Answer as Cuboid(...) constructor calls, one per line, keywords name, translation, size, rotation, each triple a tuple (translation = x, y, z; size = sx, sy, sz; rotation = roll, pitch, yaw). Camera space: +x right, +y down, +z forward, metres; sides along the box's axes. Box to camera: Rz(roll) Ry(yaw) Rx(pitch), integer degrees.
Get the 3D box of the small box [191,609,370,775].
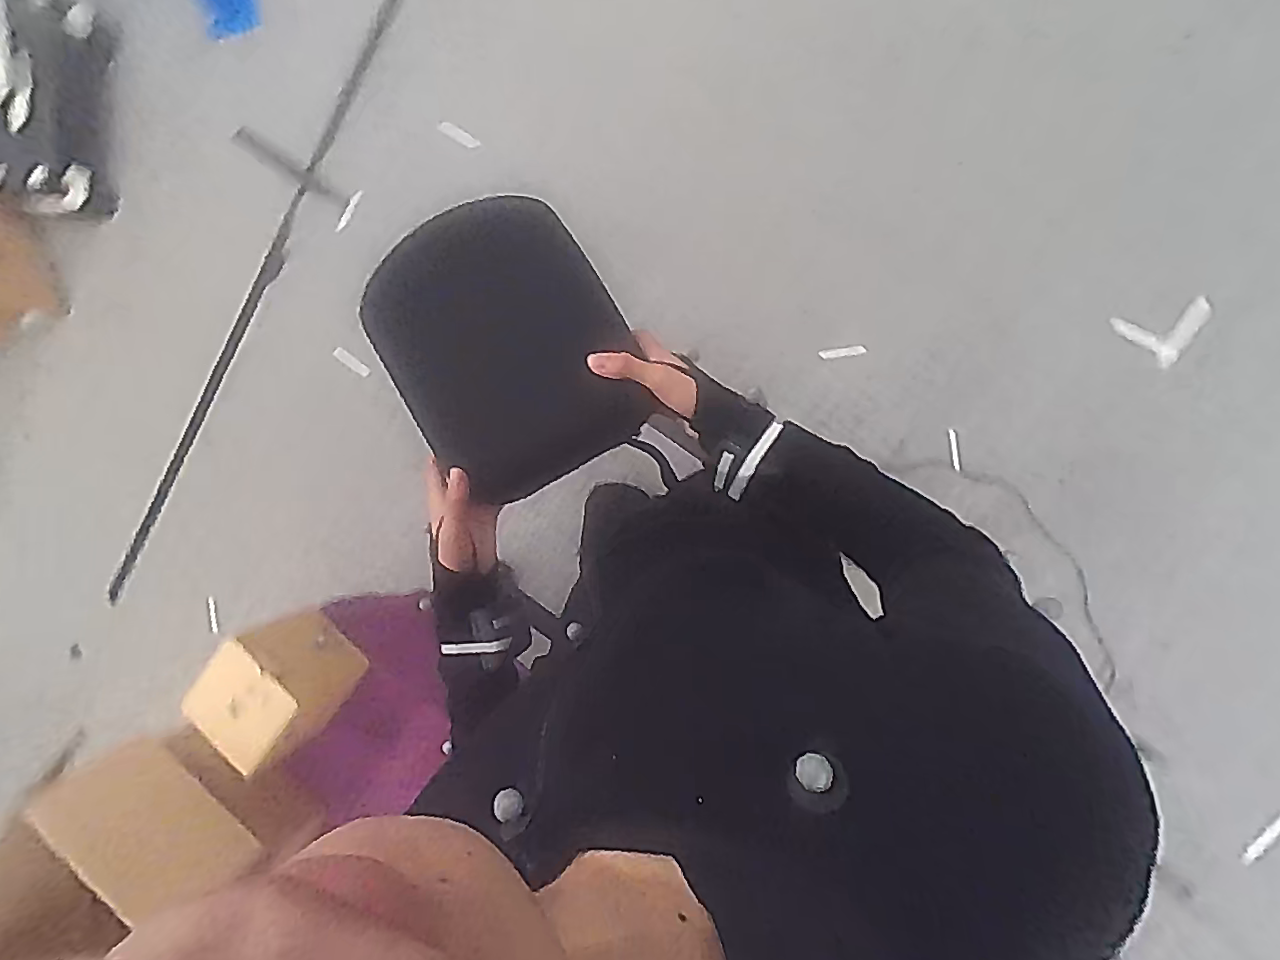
Cuboid(name="small box", translation=(-0.620, 0.361, 0.952), size=(0.168, 0.176, 0.179), rotation=(40, 101, 6))
